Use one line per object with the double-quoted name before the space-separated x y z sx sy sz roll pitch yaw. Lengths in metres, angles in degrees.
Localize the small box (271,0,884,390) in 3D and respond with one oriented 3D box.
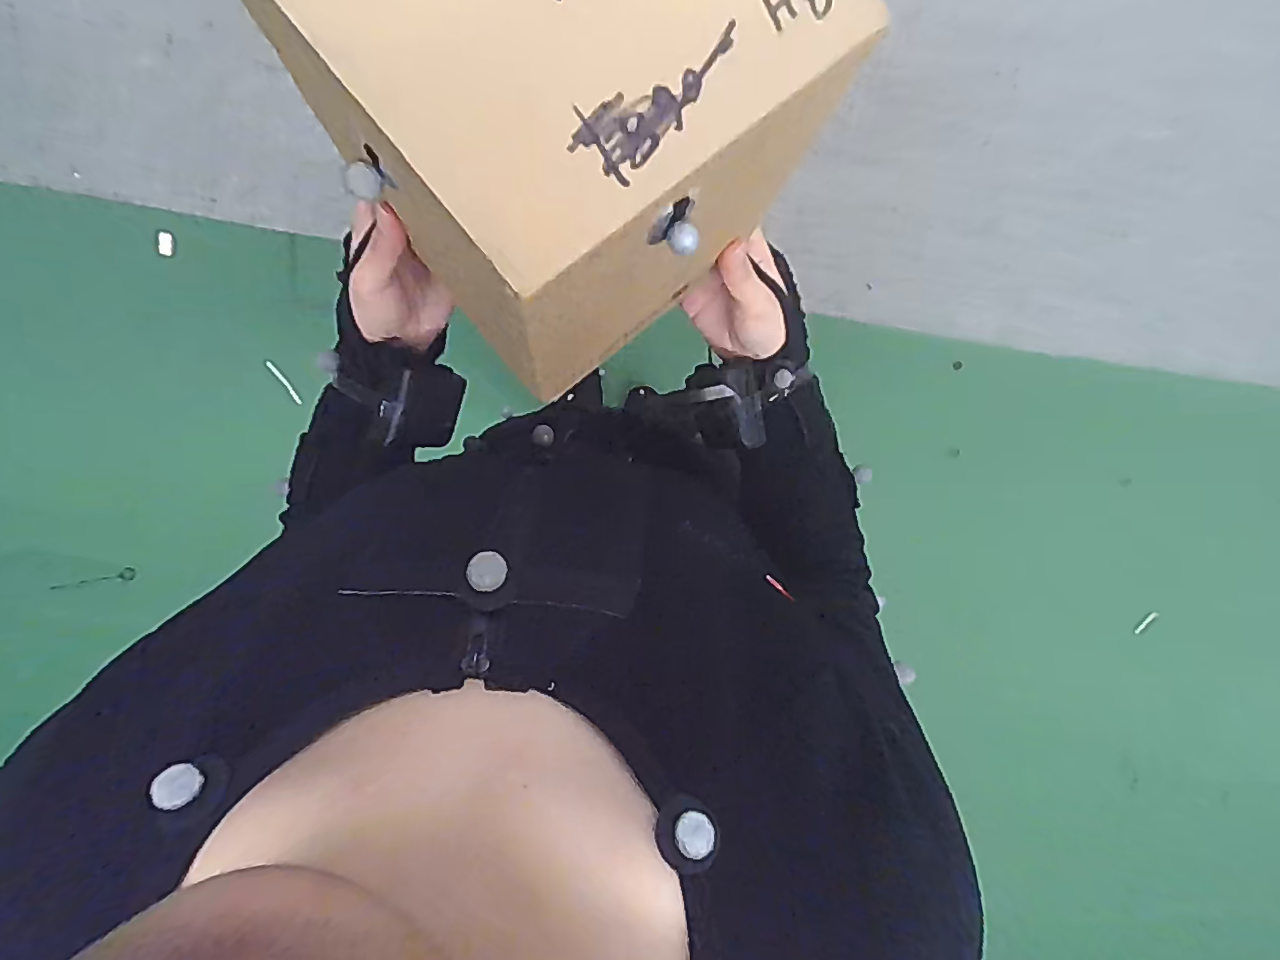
"small box" -0.036 -0.169 0.262 0.168 0.176 0.179 -41 92 -7
